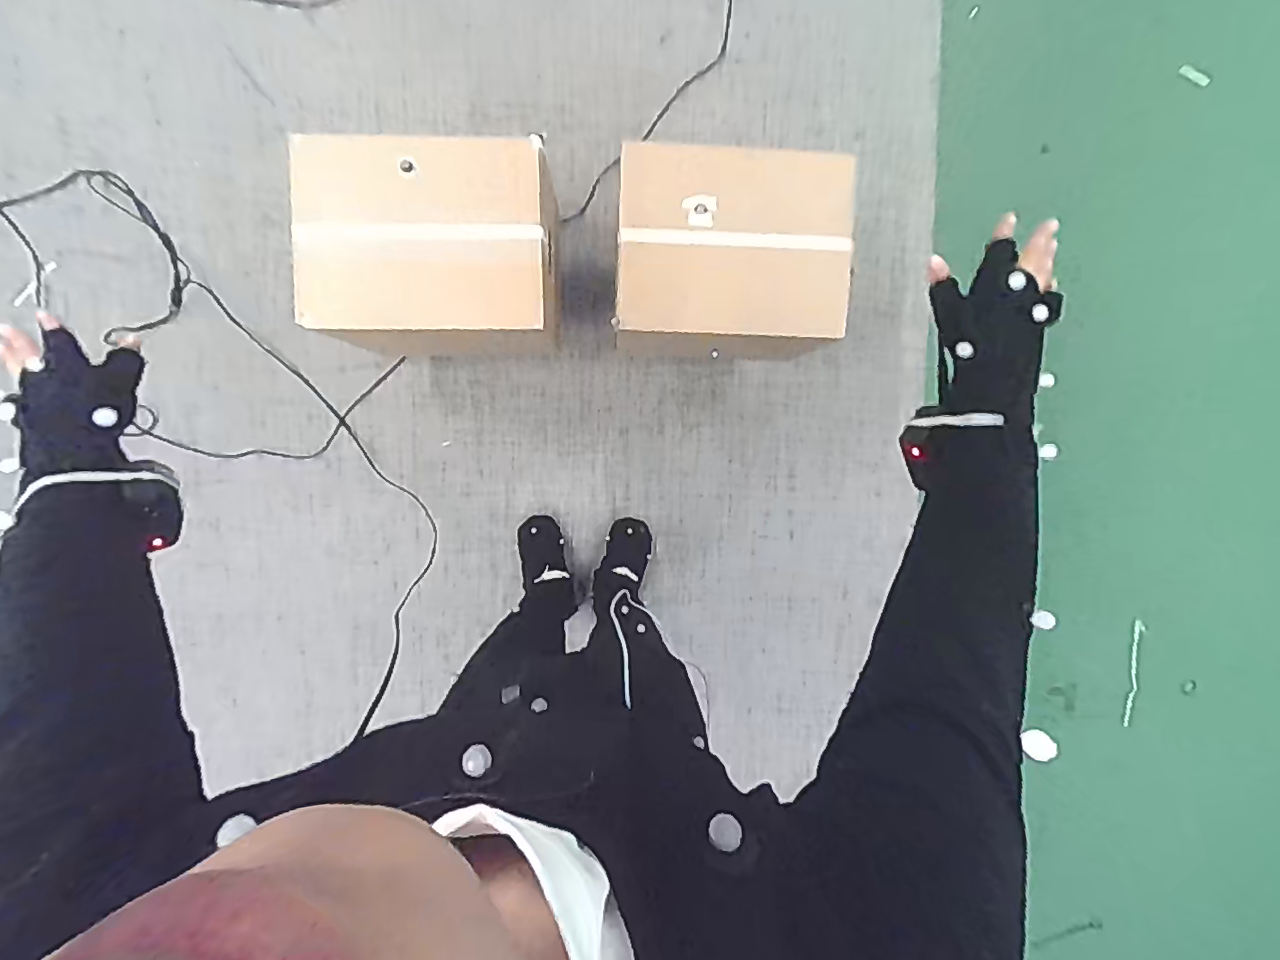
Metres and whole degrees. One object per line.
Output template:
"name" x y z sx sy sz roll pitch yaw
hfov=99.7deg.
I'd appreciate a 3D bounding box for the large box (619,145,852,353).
"large box" 0.164 -0.431 1.090 0.408 0.320 0.320 2 95 -3
